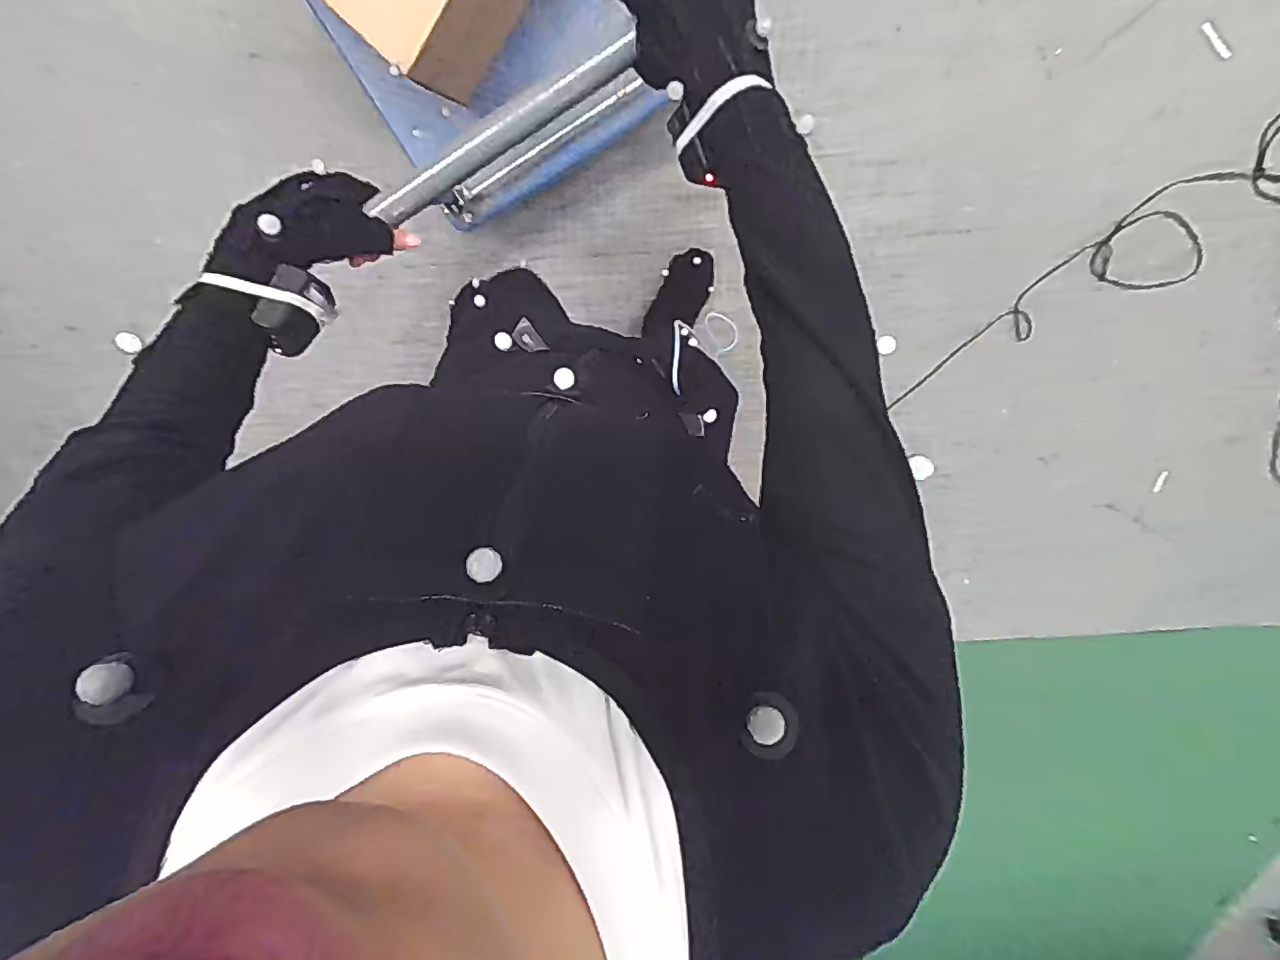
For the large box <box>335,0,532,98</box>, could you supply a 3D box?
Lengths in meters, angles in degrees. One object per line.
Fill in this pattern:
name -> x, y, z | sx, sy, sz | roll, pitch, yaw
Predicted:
large box -> -0.293, -0.852, 0.758 | 0.320, 0.320, 0.408 | 38, 113, -18
